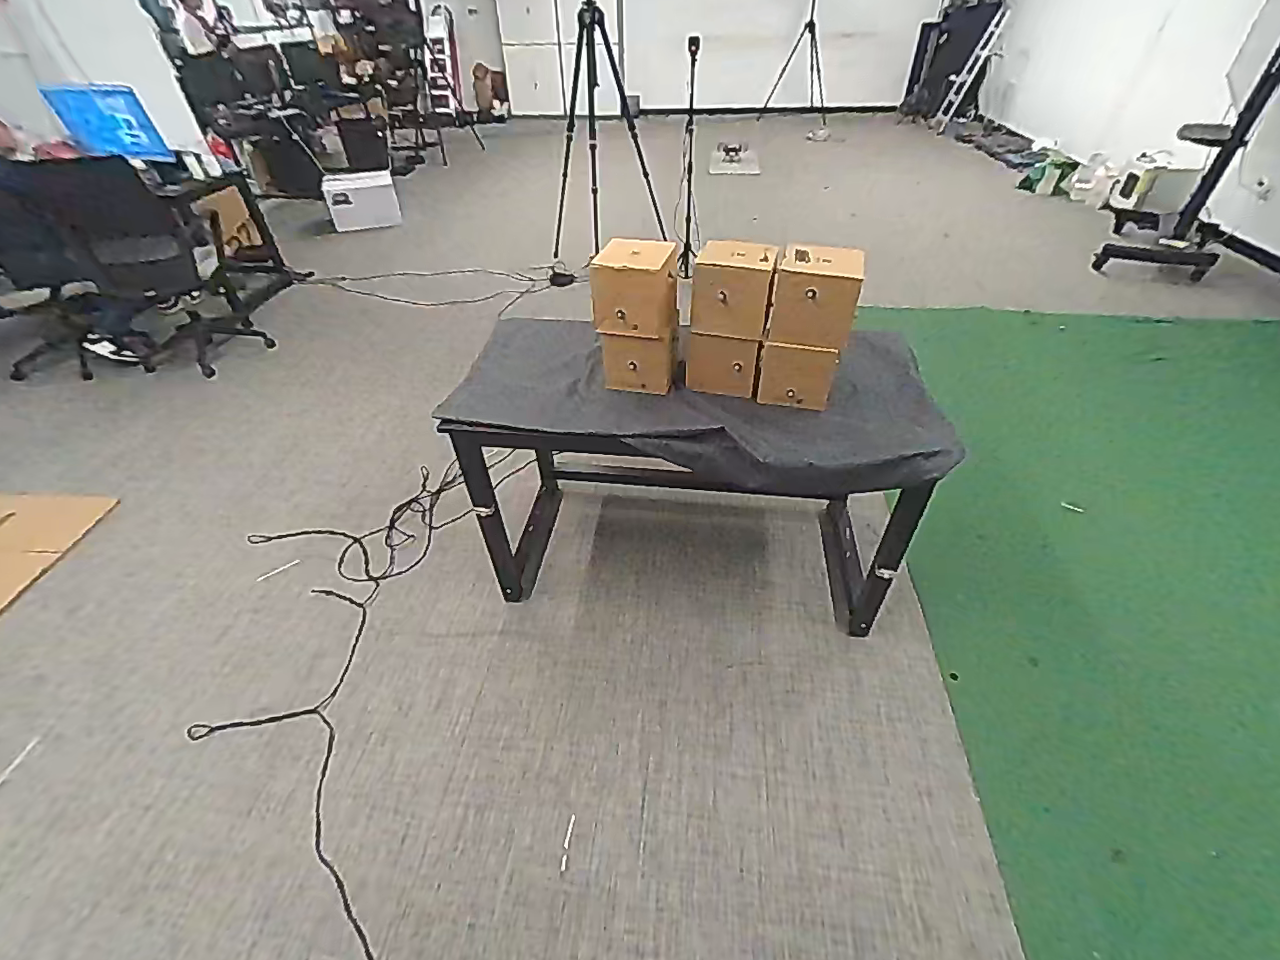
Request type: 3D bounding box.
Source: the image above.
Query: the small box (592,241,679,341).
[{"bbox_3d":[-0.007,-0.460,1.316,0.168,0.176,0.179,10,45,13],"label":"small box"}]
